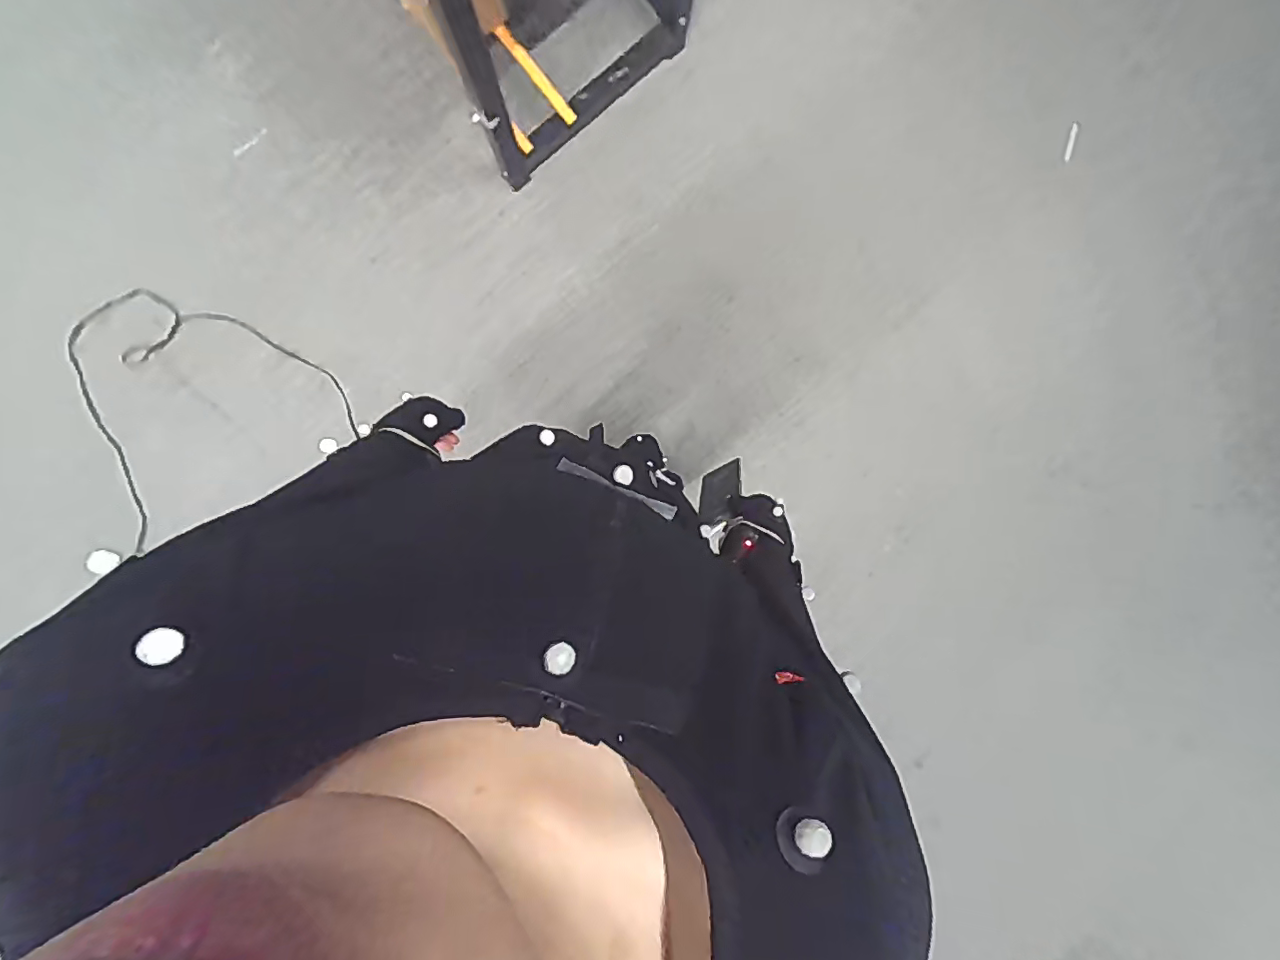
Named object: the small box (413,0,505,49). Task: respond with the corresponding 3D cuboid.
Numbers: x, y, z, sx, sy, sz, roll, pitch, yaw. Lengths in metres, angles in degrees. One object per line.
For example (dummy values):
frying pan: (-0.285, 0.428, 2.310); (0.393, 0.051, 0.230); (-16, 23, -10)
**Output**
small box: (-0.414, -1.089, 1.156); (0.179, 0.176, 0.168); (-36, 97, 1)
